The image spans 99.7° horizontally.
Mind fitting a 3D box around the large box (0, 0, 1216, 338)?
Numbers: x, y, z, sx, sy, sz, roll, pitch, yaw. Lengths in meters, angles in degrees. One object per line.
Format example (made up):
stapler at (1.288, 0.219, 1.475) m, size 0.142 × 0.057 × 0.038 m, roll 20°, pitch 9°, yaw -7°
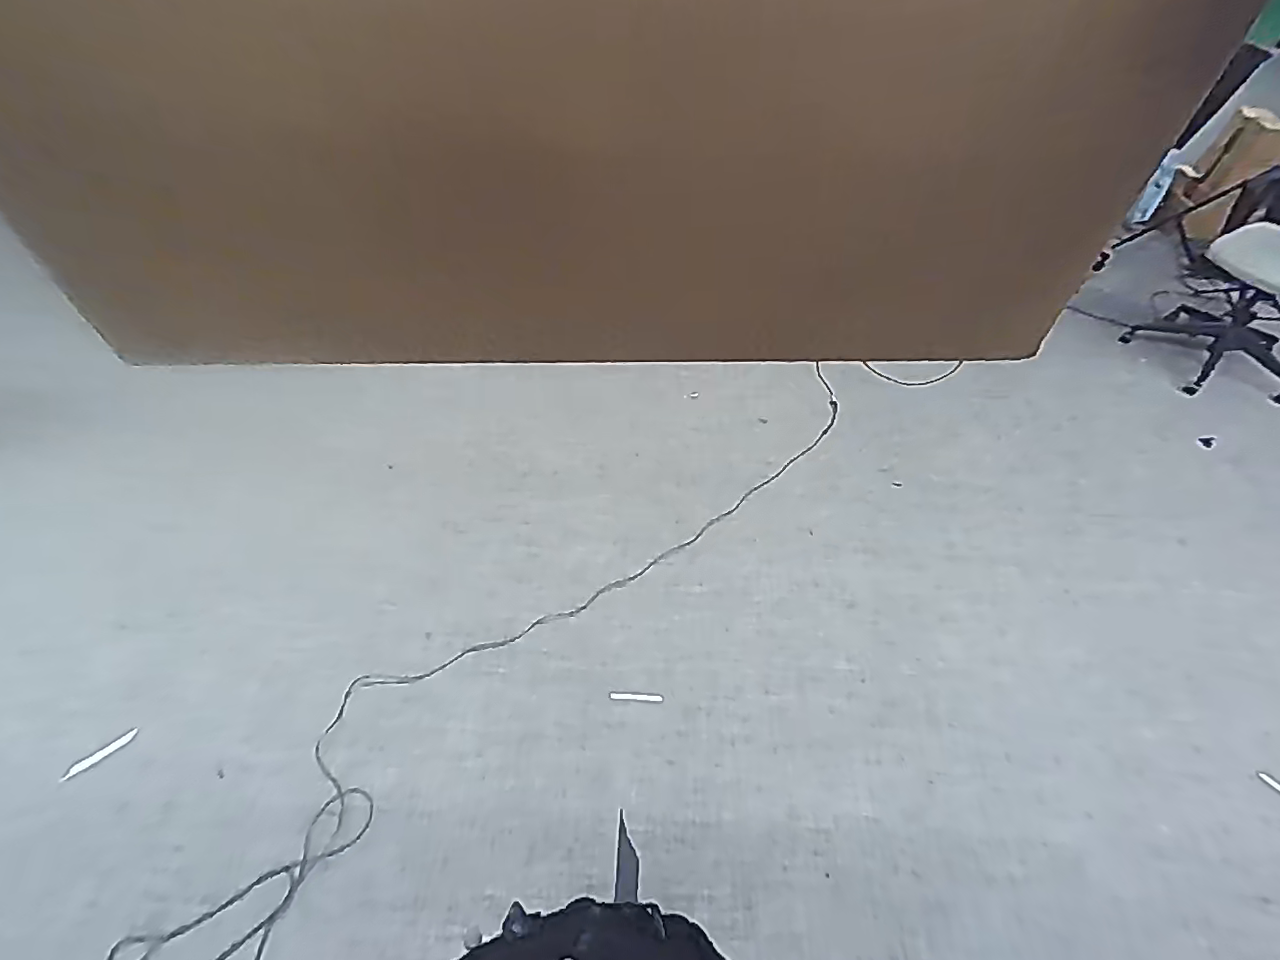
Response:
large box at (-0.023, -0.274, 0.235) m, size 0.408 × 0.320 × 0.320 m, roll 0°, pitch 49°, yaw -2°
